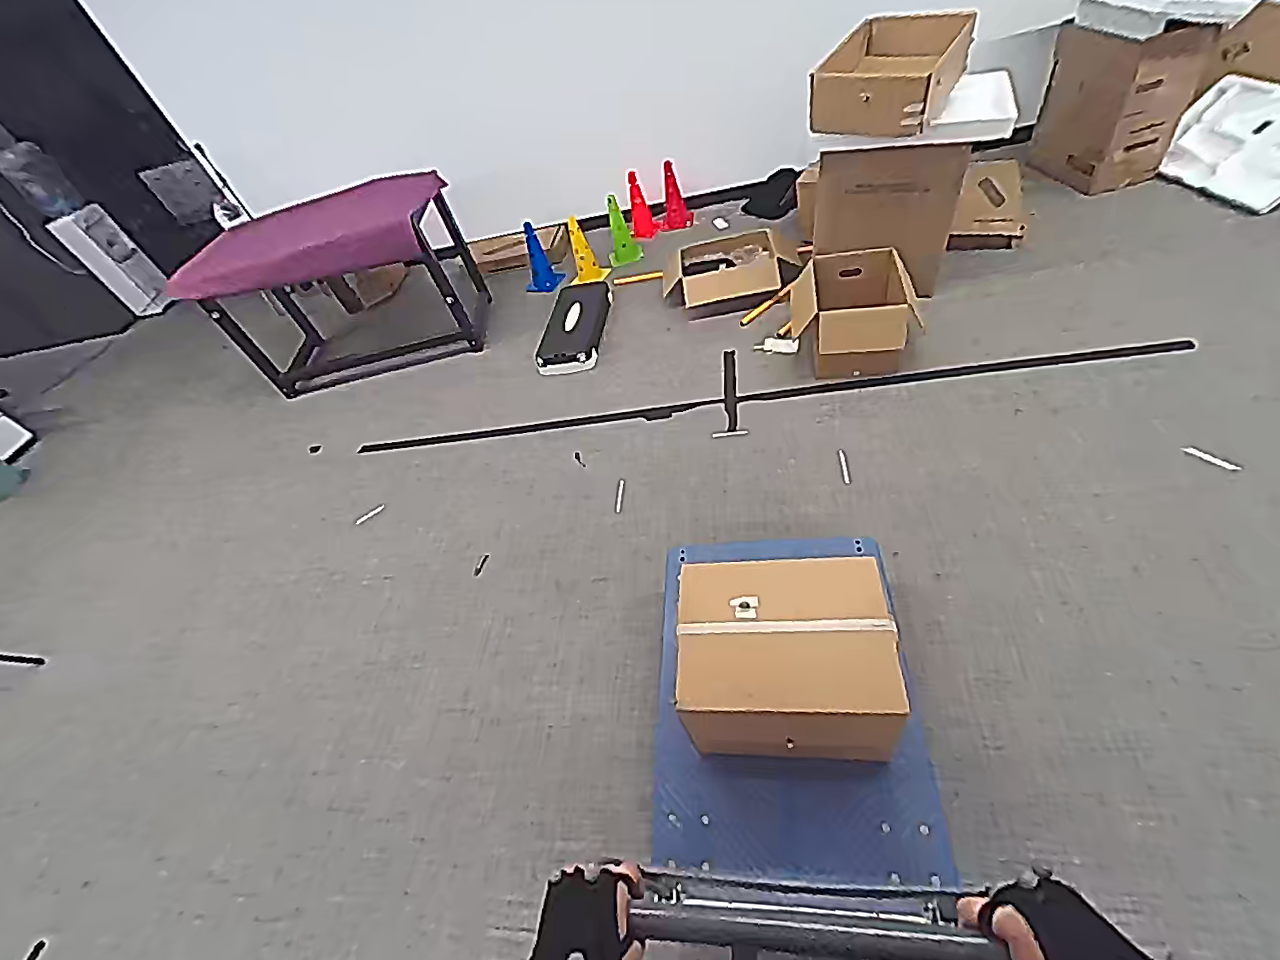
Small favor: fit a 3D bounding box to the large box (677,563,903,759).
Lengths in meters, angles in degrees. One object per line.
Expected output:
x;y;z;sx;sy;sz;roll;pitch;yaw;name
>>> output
0.308;0.403;1.175;0.408;0.320;0.320;-6;48;13;large box
